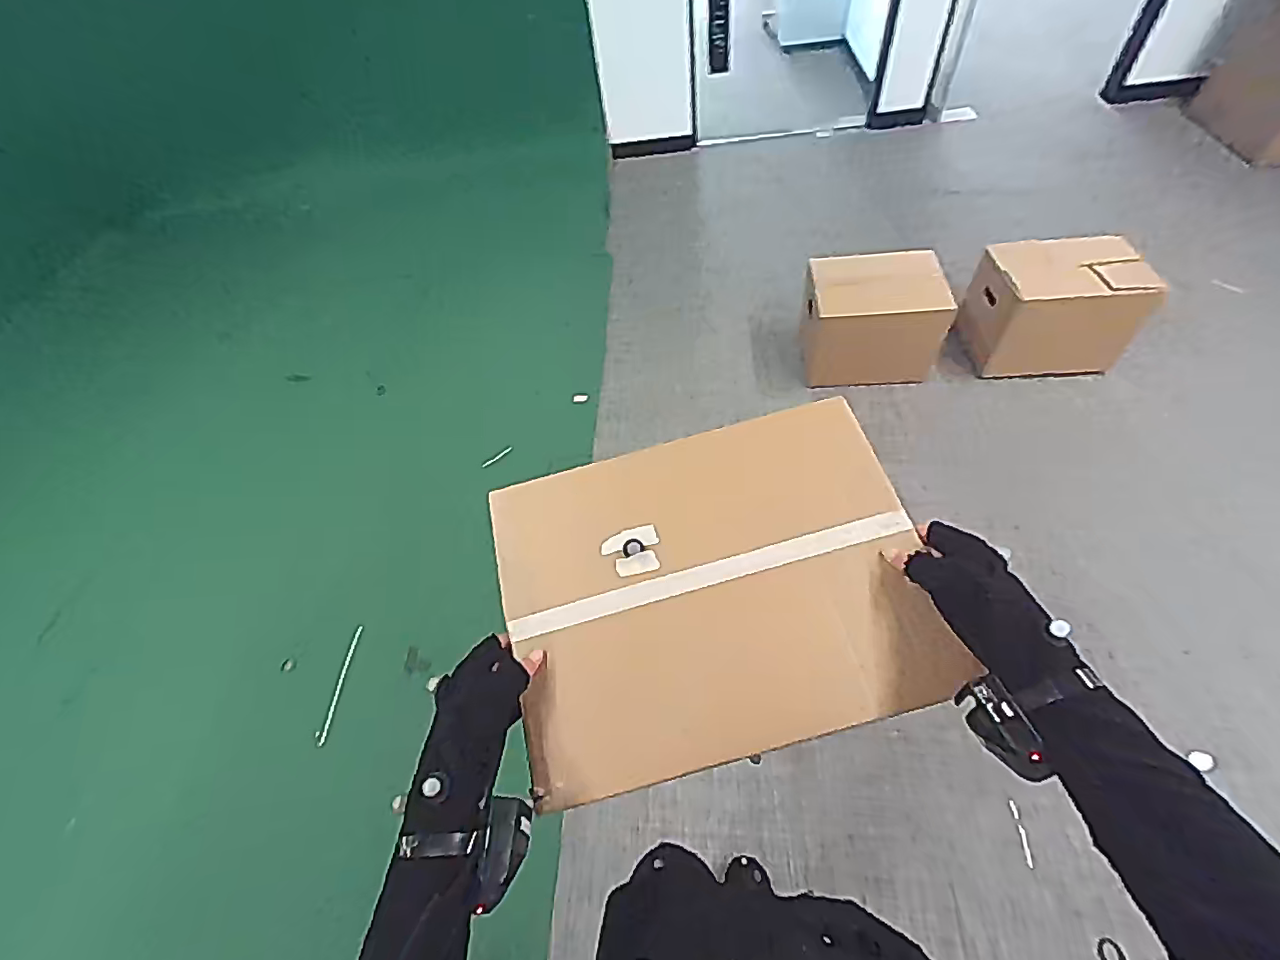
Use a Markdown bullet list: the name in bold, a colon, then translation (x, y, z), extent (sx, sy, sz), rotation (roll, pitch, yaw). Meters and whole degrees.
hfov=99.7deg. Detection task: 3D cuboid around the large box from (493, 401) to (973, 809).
- **large box**: translation (0.082, 0.157, 0.661), extent (0.408, 0.320, 0.320), rotation (-15, 64, 0)
